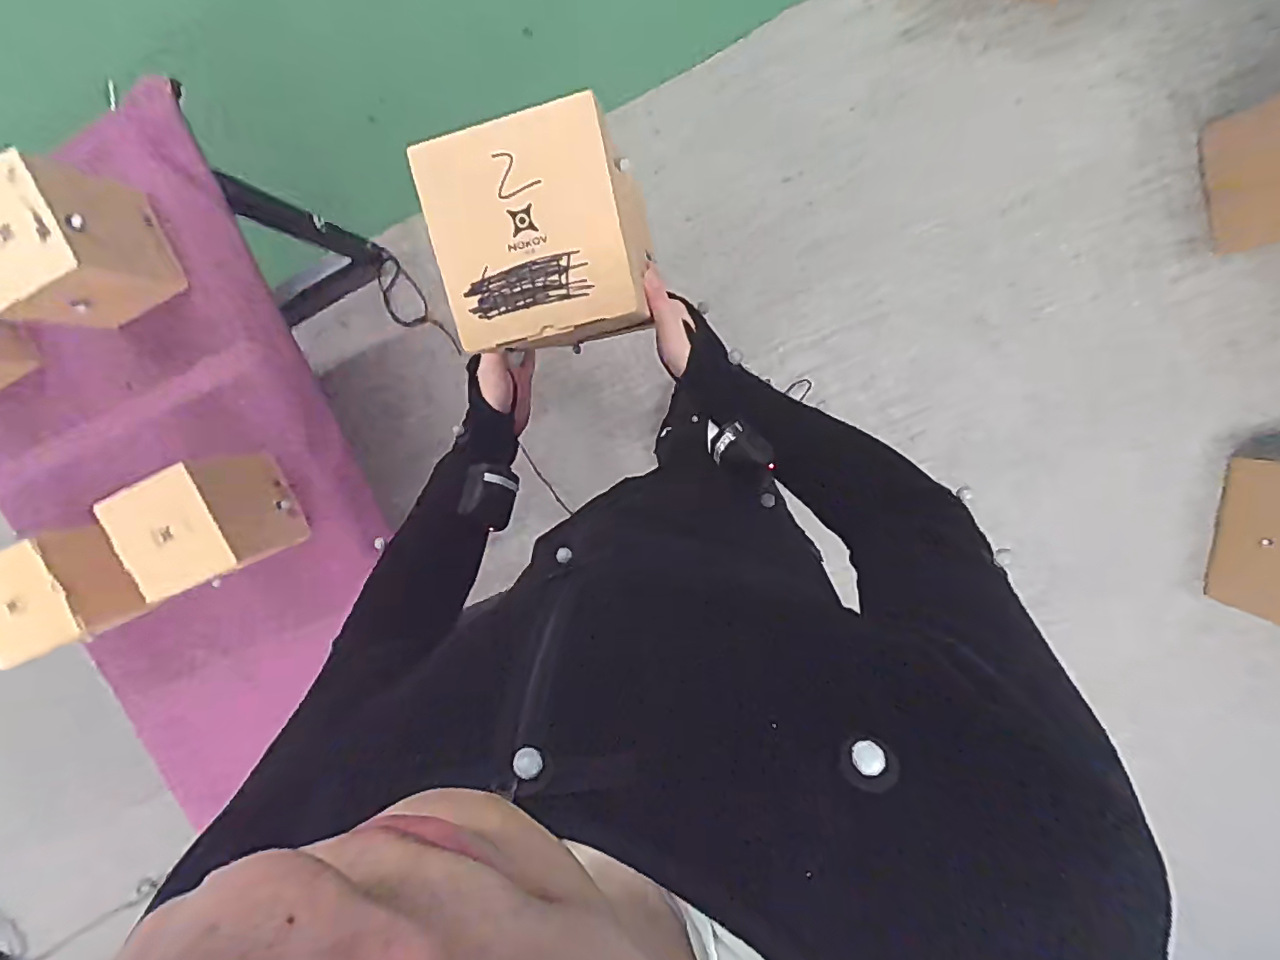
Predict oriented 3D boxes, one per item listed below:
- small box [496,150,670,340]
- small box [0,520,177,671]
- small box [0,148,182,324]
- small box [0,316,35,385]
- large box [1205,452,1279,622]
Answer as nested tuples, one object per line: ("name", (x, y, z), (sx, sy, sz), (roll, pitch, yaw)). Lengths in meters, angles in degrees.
("small box", (-0.058, -0.280, 0.686), (0.168, 0.176, 0.179), (-9, 103, 9))
("small box", (-0.952, 0.184, 0.908), (0.179, 0.176, 0.168), (-24, 96, 7))
("small box", (-0.855, -0.345, 0.808), (0.179, 0.176, 0.168), (-22, 98, 11))
("small box", (-1.148, -0.223, 0.853), (0.179, 0.176, 0.168), (-24, 99, 8))
("large box", (1.721, 0.144, 1.338), (0.320, 0.320, 0.408), (0, 98, 5))
